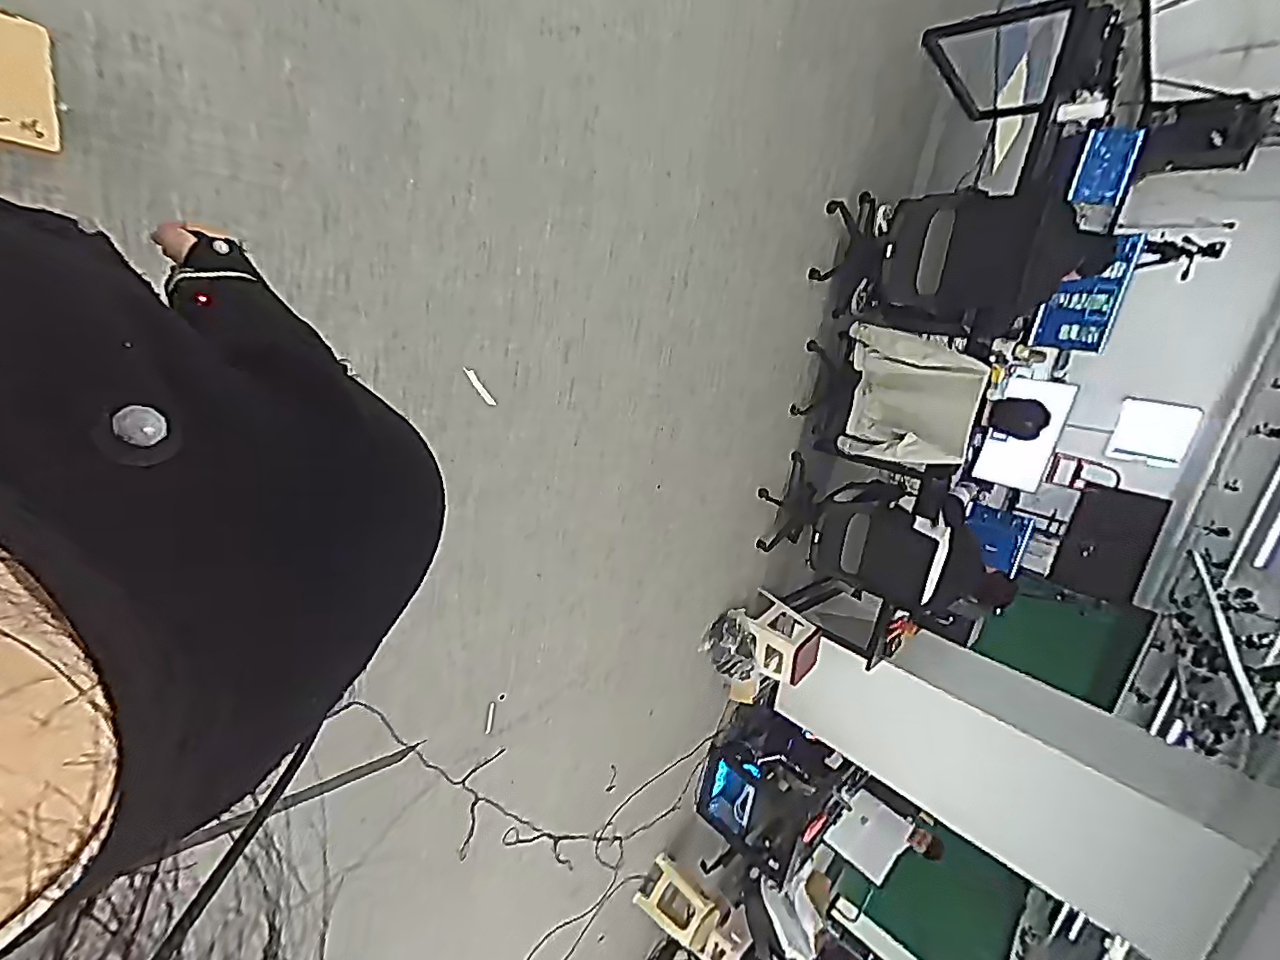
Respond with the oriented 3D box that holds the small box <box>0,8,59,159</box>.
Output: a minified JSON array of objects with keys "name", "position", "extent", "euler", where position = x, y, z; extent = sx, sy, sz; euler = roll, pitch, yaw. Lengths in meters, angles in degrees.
[{"name":"small box","position":[-1.028,-0.622,0.832],"extent":[0.168,0.176,0.179],"euler":[-7,111,-46]}]
